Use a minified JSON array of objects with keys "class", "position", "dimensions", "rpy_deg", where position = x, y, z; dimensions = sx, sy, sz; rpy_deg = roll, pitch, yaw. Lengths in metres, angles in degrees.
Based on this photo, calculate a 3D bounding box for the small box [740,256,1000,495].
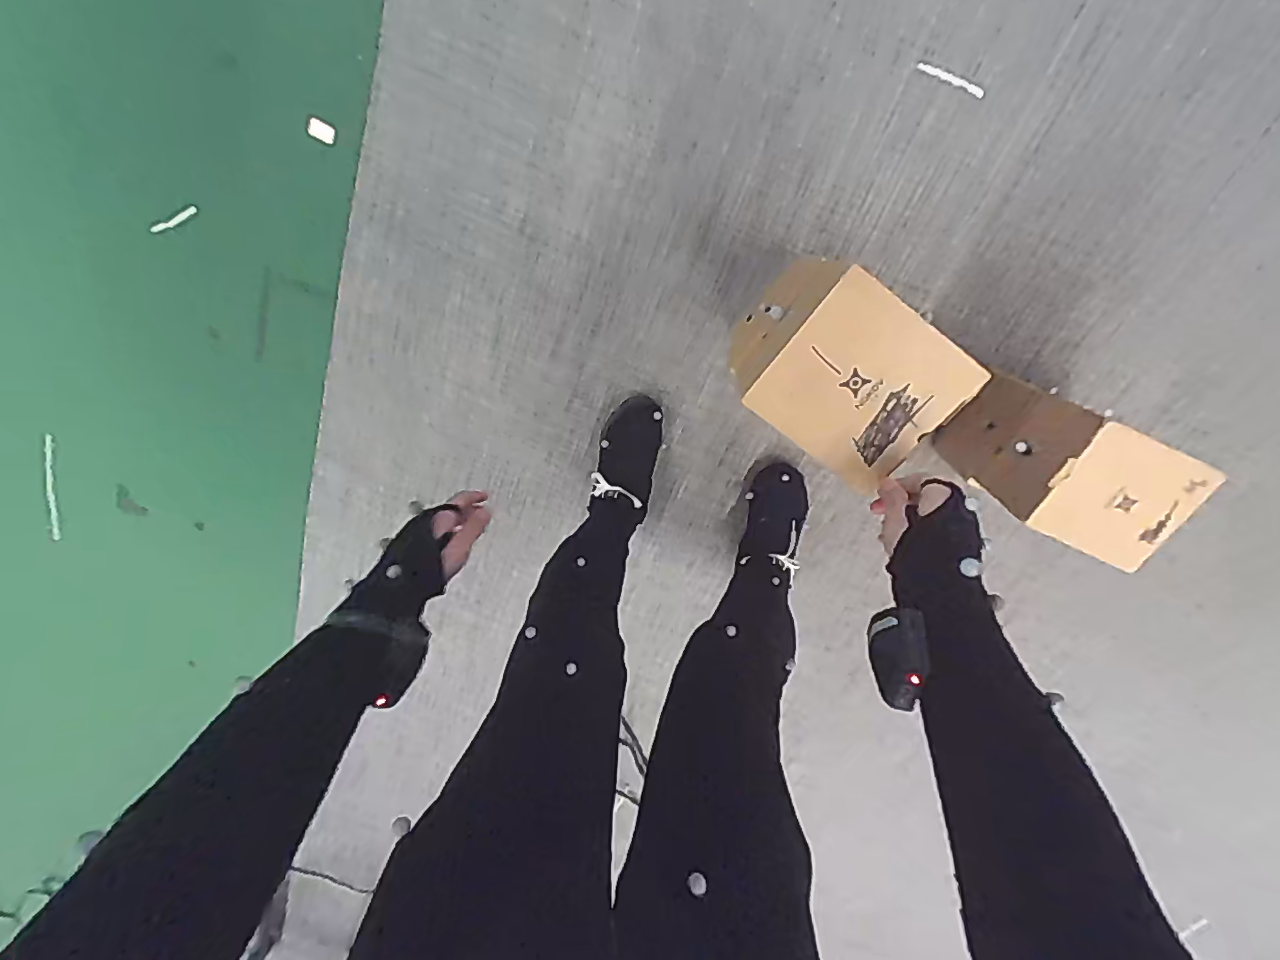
[{"class":"small box","position":[0.227,-0.121,0.584],"dimensions":[0.179,0.176,0.168],"rpy_deg":[38,113,-7]}]

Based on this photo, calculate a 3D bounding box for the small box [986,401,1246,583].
[{"class":"small box","position":[0.634,0.004,0.754],"dimensions":[0.179,0.176,0.168],"rpy_deg":[27,115,-1]}]

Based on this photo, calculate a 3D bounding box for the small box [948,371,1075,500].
[{"class":"small box","position":[0.652,-0.059,0.904],"dimensions":[0.168,0.176,0.179],"rpy_deg":[25,114,-2]}]

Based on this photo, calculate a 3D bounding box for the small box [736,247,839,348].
[{"class":"small box","position":[0.276,-0.252,0.881],"dimensions":[0.168,0.176,0.179],"rpy_deg":[43,112,-10]}]
